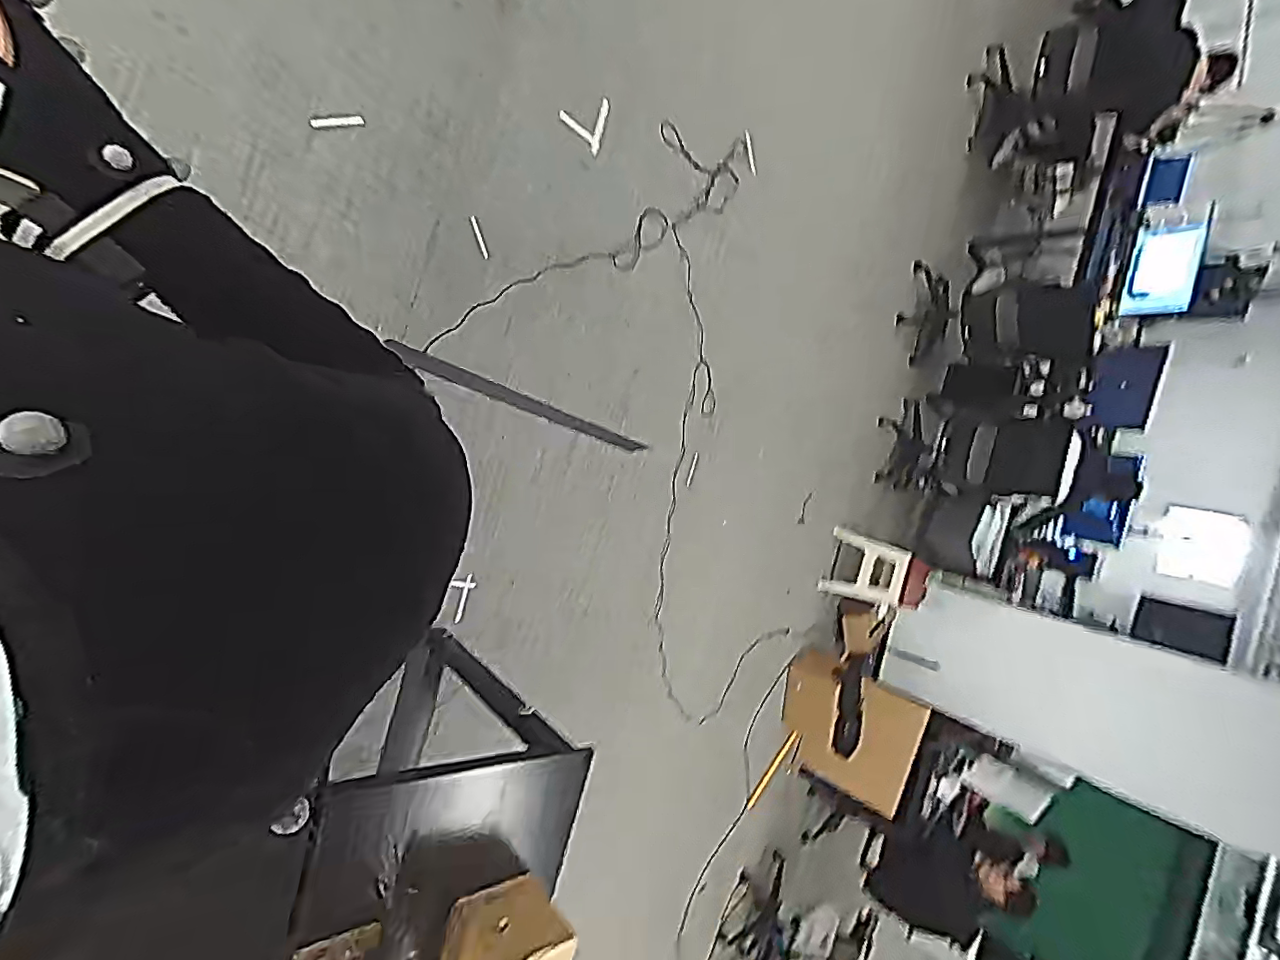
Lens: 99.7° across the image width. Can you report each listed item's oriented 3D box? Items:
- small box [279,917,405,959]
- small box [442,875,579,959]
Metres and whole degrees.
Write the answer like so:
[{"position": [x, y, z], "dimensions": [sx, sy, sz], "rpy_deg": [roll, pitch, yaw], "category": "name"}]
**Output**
[{"position": [-0.435, 0.796, 0.778], "dimensions": [0.168, 0.176, 0.179], "rpy_deg": [15, 89, -44], "category": "small box"}, {"position": [-0.240, 0.863, 0.978], "dimensions": [0.168, 0.176, 0.179], "rpy_deg": [14, 91, -43], "category": "small box"}]
